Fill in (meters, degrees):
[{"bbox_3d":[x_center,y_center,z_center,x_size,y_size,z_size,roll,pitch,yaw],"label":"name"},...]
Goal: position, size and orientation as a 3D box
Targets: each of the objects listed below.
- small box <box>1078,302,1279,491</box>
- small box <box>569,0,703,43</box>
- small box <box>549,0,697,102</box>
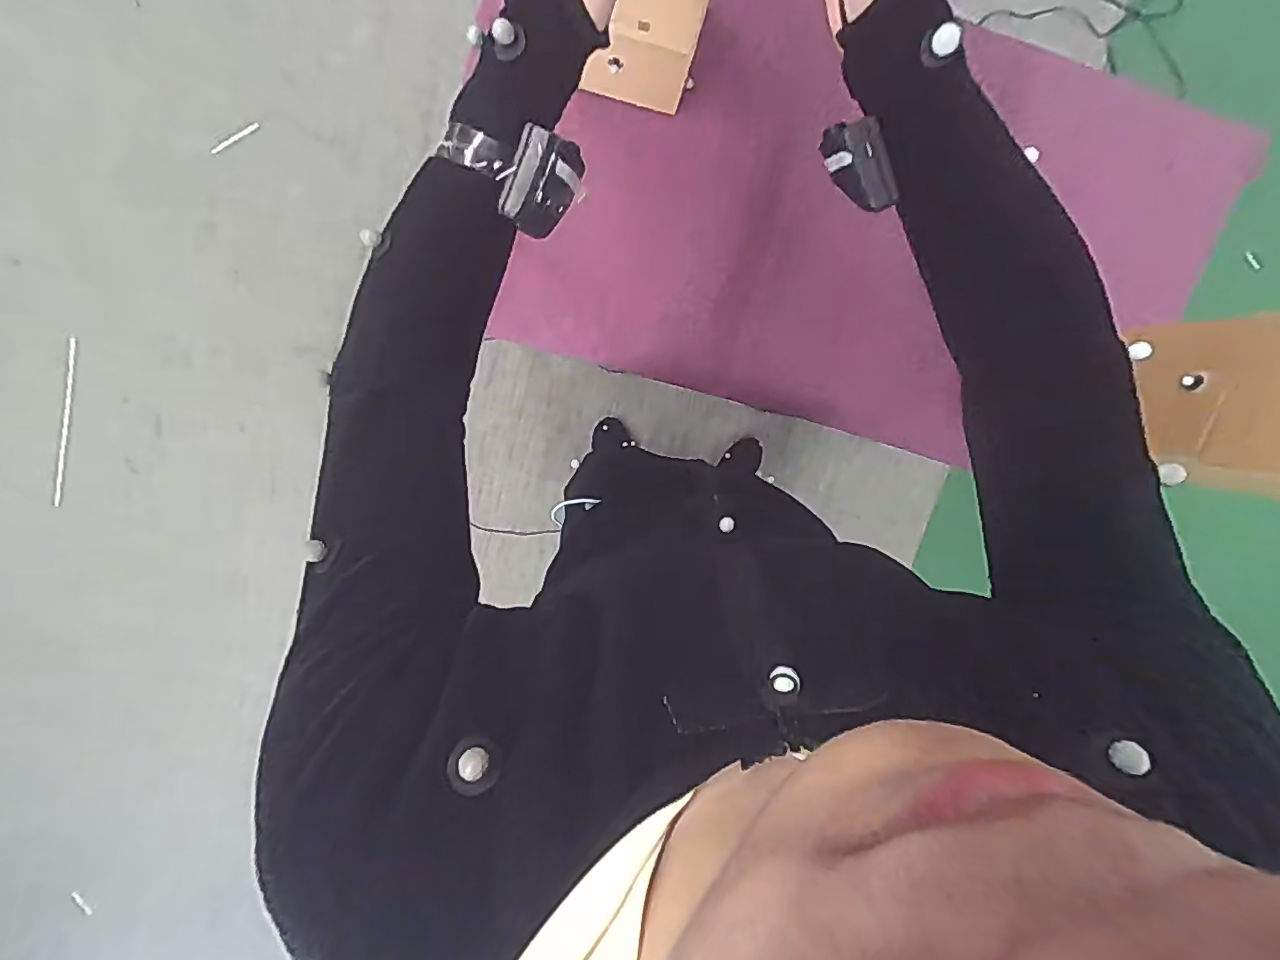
[{"bbox_3d":[0.721,-0.101,0.689,0.168,0.176,0.179,19,98,-6],"label":"small box"},{"bbox_3d":[0.005,-0.596,0.544,0.168,0.176,0.179,12,98,-6],"label":"small box"},{"bbox_3d":[-0.011,-0.631,0.701,0.179,0.176,0.168,11,99,-6],"label":"small box"}]
